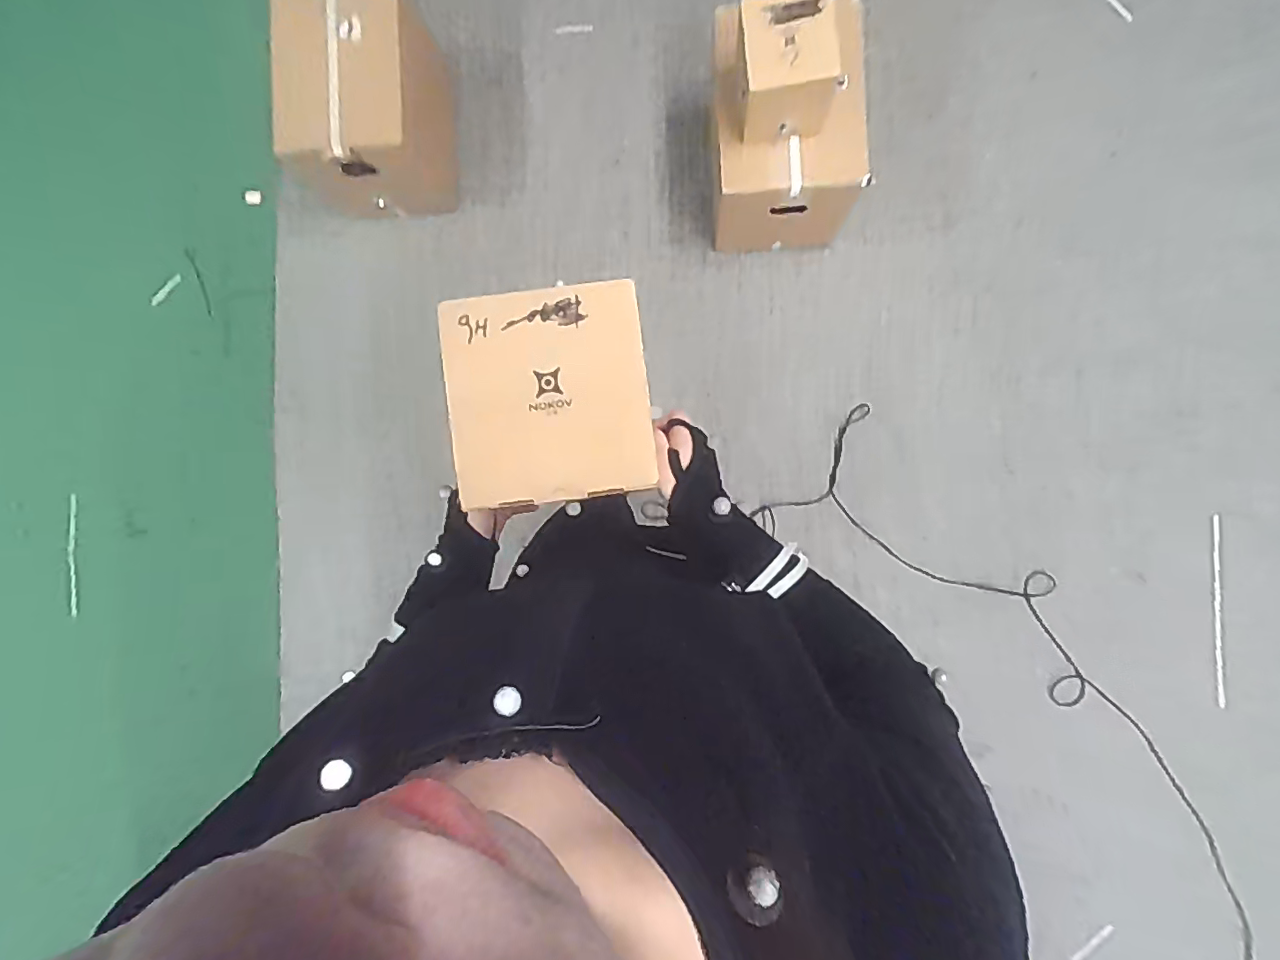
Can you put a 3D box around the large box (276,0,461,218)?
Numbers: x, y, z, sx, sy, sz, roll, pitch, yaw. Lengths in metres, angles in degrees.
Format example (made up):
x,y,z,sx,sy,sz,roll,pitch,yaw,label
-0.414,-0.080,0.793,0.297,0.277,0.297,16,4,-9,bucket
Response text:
x,y,z,sx,sy,sz,roll,pitch,yaw,label
-0.676,-0.954,1.388,0.320,0.320,0.408,-2,89,5,large box

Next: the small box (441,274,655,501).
x,y,z,sx,sy,sz,roll,pitch,yaw,label
-0.075,-0.078,0.527,0.168,0.176,0.179,-7,90,-1,small box
